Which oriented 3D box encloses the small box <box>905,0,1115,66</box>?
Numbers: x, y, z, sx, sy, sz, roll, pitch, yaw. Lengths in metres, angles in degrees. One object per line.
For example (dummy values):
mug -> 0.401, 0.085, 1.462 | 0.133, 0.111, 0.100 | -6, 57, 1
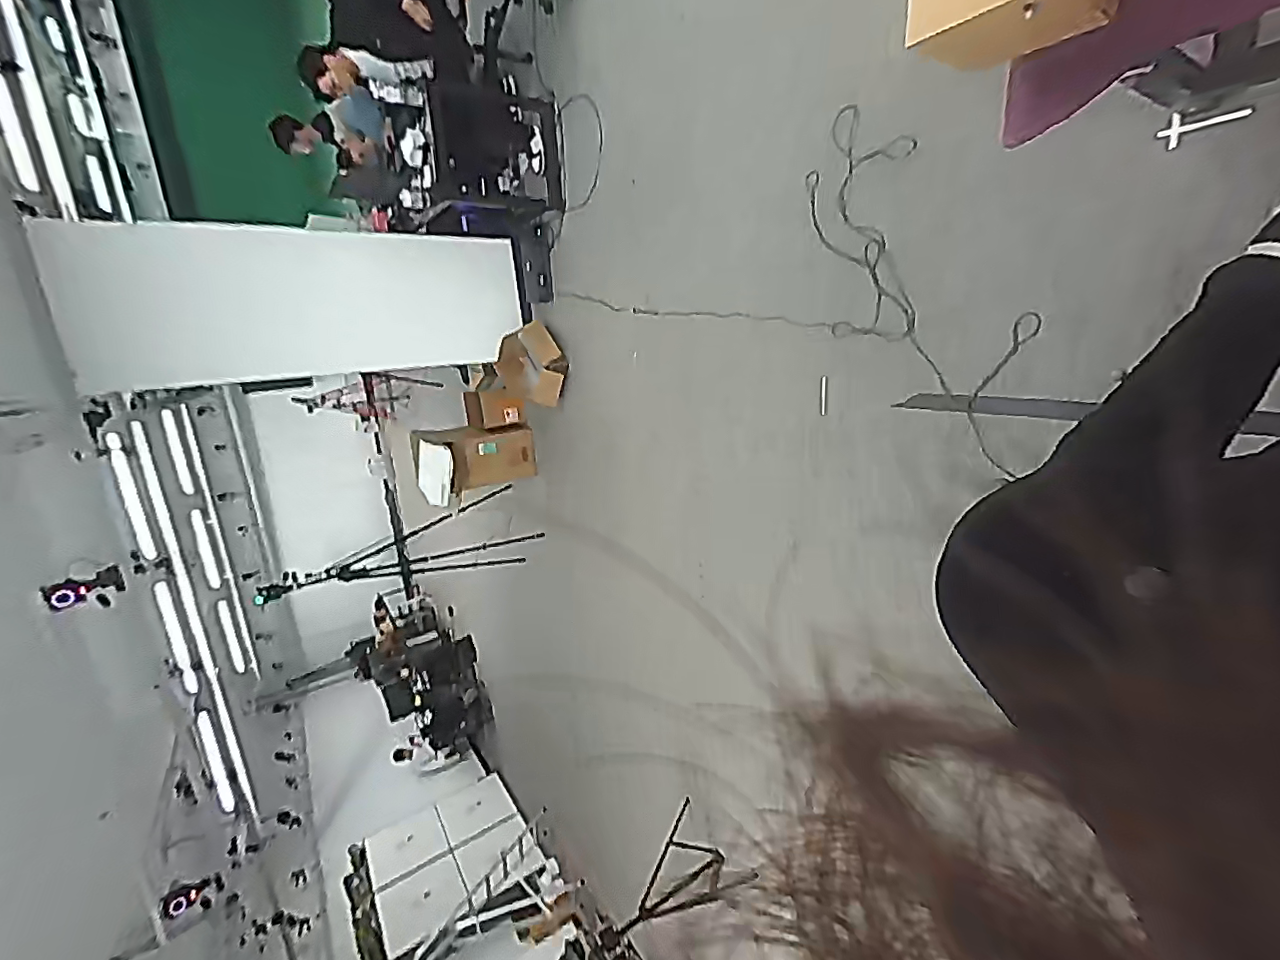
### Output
small box -> 0.460, -0.647, 0.662 | 0.179, 0.176, 0.168 | 19, 117, 52
